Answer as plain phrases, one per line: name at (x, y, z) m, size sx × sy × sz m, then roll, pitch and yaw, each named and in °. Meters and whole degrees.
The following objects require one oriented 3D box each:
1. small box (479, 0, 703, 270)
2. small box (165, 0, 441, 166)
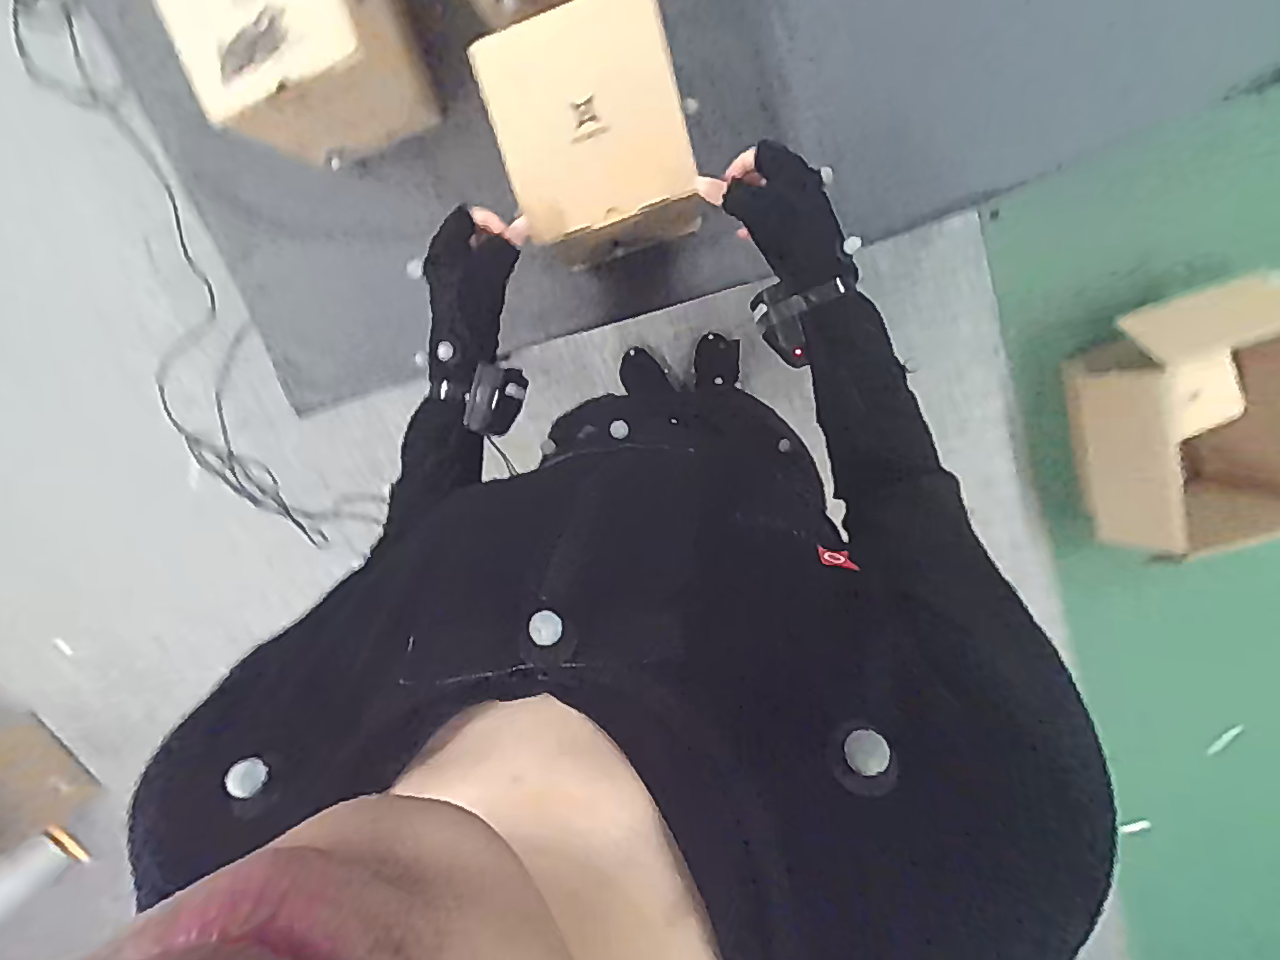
small box at (-0.037, -0.340, 0.565) m, size 0.168 × 0.176 × 0.179 m, roll -16°, pitch 102°, yaw 10°
small box at (-0.339, -0.455, 0.562) m, size 0.168 × 0.176 × 0.179 m, roll -17°, pitch 102°, yaw 9°
